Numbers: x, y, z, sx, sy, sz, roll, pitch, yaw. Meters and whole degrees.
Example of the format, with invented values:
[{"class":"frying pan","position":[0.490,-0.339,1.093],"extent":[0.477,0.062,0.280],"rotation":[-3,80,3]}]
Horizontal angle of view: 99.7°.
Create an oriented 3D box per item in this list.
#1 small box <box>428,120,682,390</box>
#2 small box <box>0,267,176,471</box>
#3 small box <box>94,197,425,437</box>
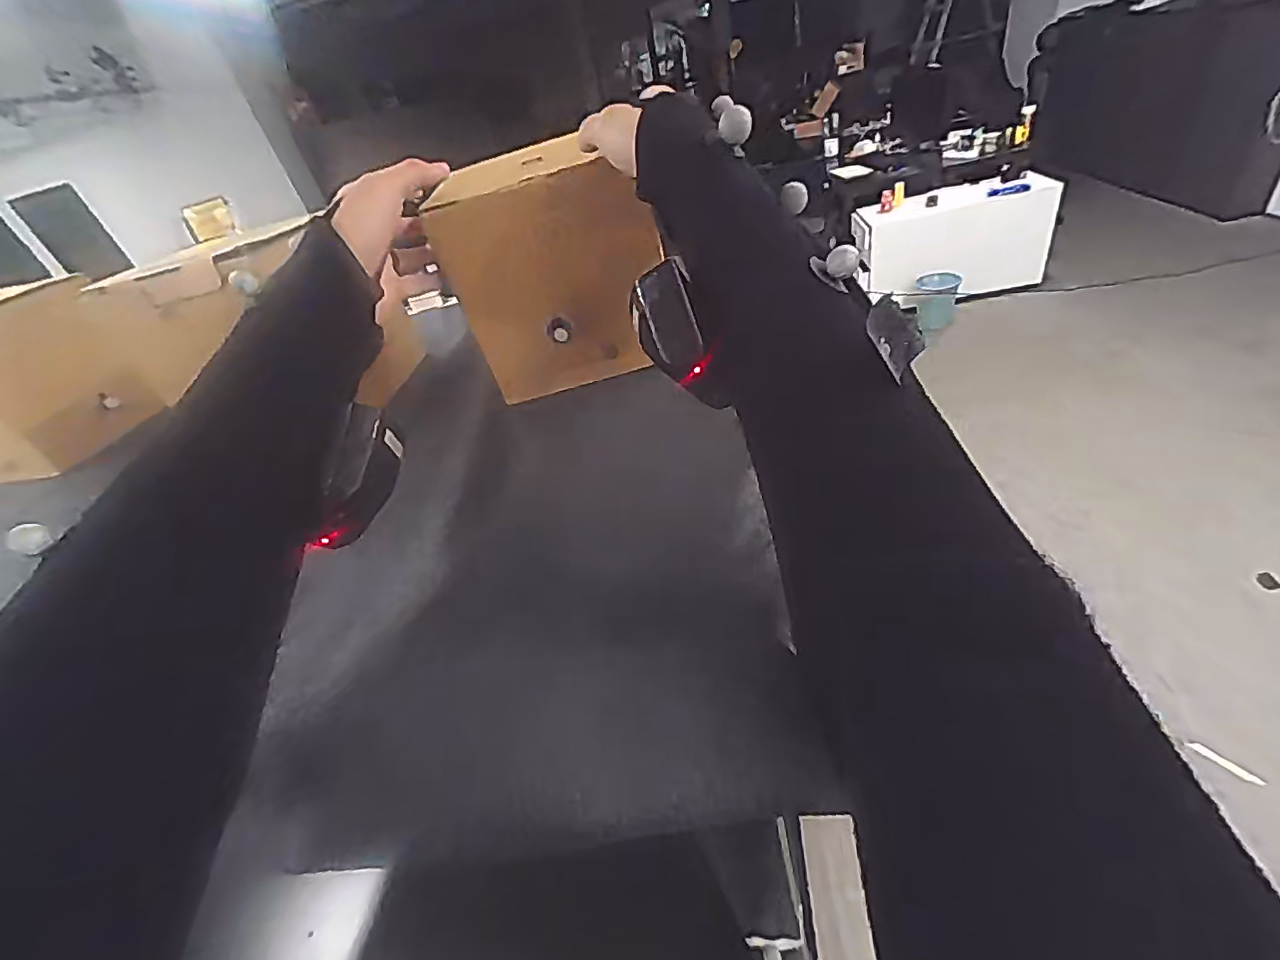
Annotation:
[{"class":"small box","position":[-0.066,-0.208,0.498],"extent":[0.168,0.176,0.179],"rotation":[-15,39,3]},{"class":"small box","position":[-0.708,-0.127,0.635],"extent":[0.168,0.176,0.179],"rotation":[-4,38,15]},{"class":"small box","position":[-0.344,-0.155,0.538],"extent":[0.168,0.176,0.179],"rotation":[-9,37,10]}]
